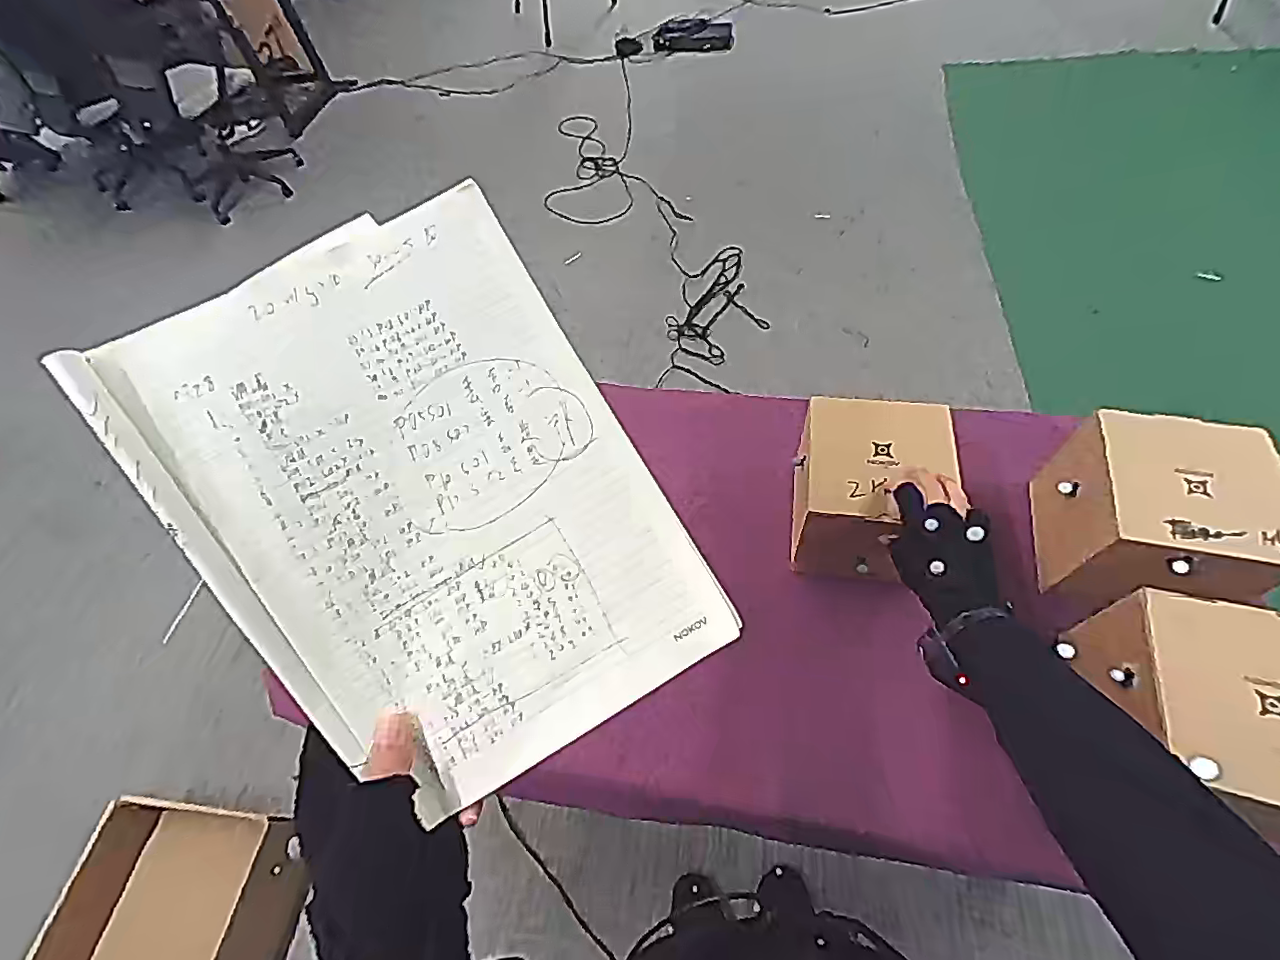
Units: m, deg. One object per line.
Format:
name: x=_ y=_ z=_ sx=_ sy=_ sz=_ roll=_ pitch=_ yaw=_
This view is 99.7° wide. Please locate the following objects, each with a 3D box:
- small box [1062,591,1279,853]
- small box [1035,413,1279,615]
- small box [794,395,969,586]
small box: x=0.548 y=0.237 z=0.528 sx=0.168 sy=0.176 sz=0.179 roll=13 pitch=60 yaw=16
small box: x=0.600 y=0.050 z=0.639 sx=0.168 sy=0.176 sz=0.179 roll=11 pitch=59 yaw=14
small box: x=0.296 y=0.016 z=0.699 sx=0.168 sy=0.176 sz=0.179 roll=6 pitch=59 yaw=11
